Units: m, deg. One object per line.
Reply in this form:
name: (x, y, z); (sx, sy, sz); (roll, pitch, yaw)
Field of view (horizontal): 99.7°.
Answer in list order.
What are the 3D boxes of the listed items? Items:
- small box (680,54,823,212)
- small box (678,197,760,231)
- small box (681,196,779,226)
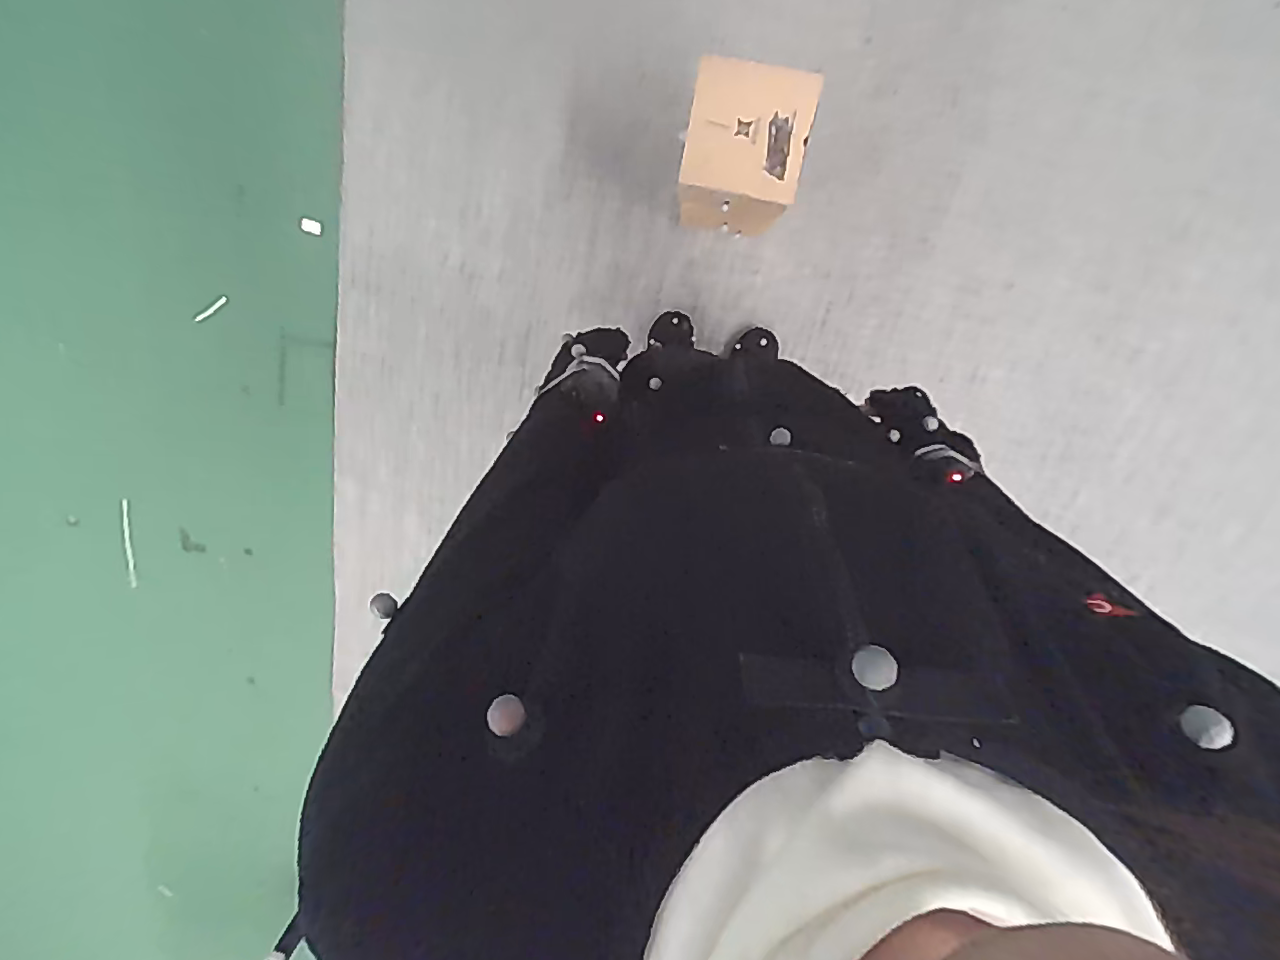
small box: (0.162, -0.527, 0.847); (0.179, 0.176, 0.168); (9, 110, 1)
small box: (0.187, -0.639, 1.155); (0.179, 0.176, 0.168); (13, 109, 2)
small box: (0.178, -0.580, 1.003); (0.179, 0.176, 0.168); (12, 110, 1)
